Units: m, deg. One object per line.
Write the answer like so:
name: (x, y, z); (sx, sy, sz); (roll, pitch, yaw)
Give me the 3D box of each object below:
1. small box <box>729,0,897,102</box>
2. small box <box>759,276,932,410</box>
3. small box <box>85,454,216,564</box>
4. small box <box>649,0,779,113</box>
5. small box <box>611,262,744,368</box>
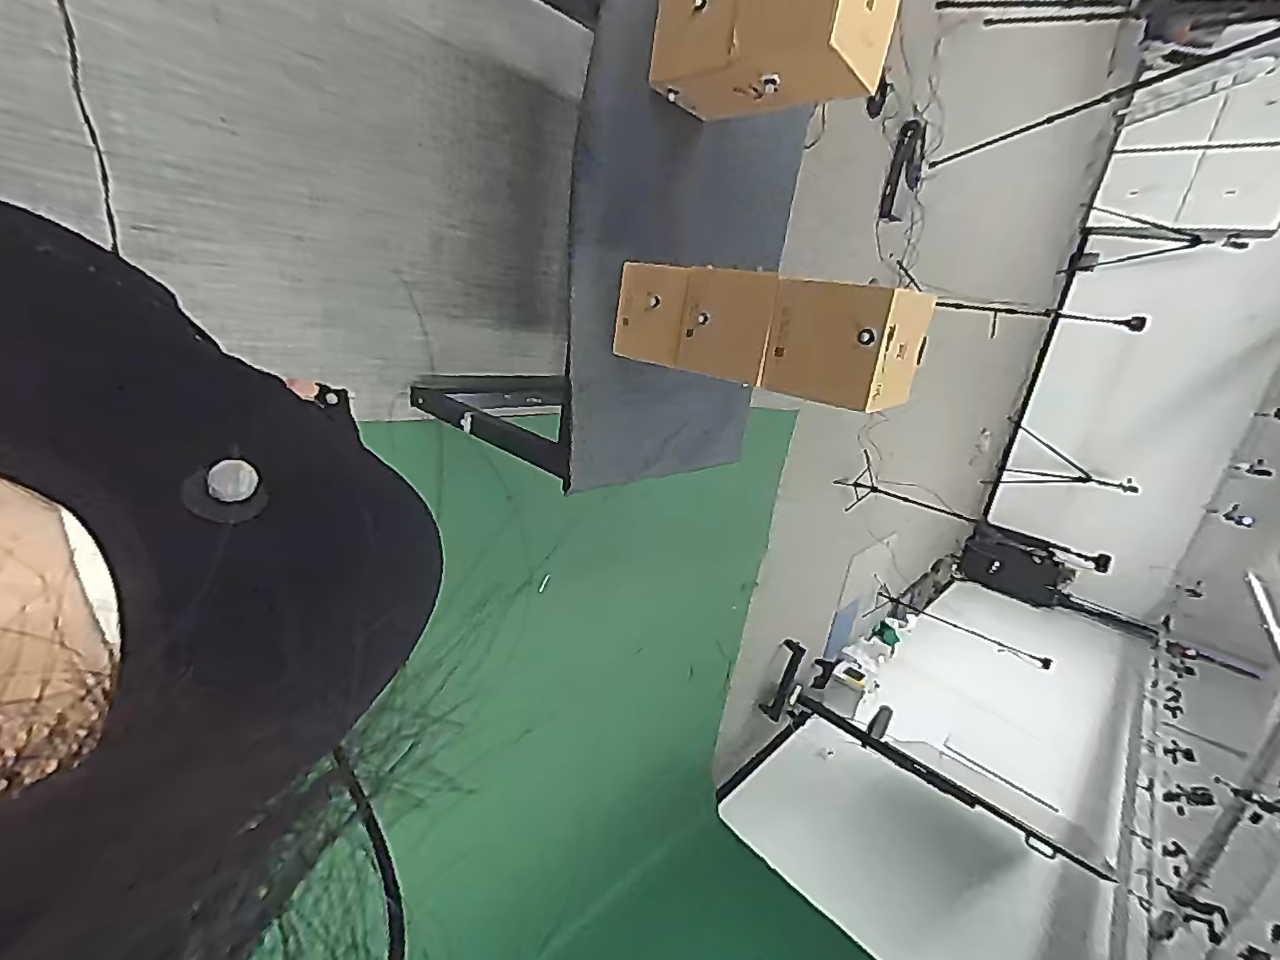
small box: (0.249, -0.680, 0.777); (0.168, 0.176, 0.179); (-8, 115, -47)
small box: (0.305, -0.209, 0.812); (0.179, 0.176, 0.168); (-16, 119, -46)
small box: (-1.019, 0.058, 1.123); (0.168, 0.176, 0.179); (14, 98, -50)
small box: (0.133, -0.728, 0.881); (0.168, 0.176, 0.179); (-10, 115, -47)
small box: (0.066, -0.308, 1.015); (0.179, 0.176, 0.168); (-11, 116, -47)
